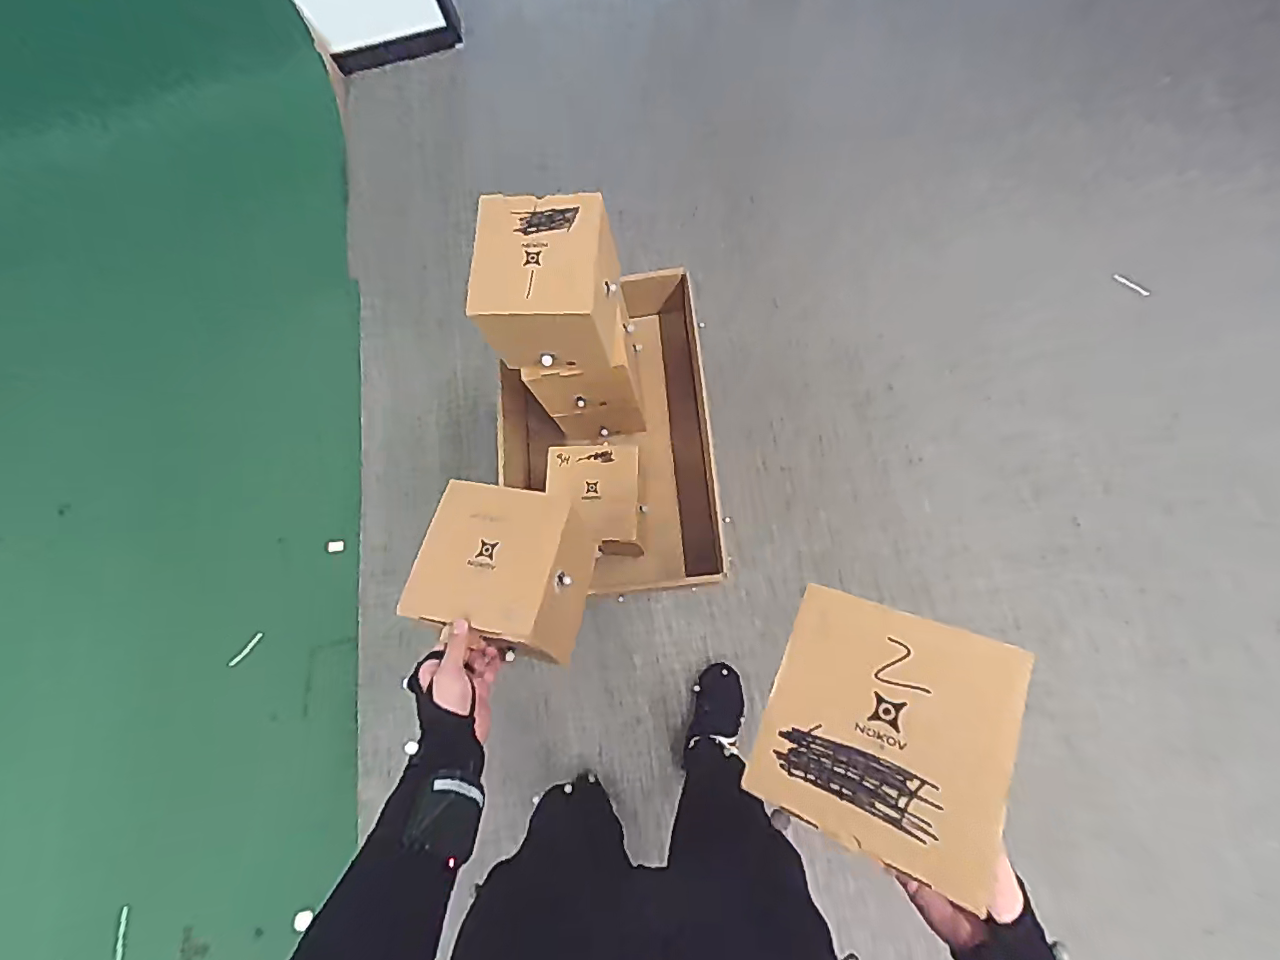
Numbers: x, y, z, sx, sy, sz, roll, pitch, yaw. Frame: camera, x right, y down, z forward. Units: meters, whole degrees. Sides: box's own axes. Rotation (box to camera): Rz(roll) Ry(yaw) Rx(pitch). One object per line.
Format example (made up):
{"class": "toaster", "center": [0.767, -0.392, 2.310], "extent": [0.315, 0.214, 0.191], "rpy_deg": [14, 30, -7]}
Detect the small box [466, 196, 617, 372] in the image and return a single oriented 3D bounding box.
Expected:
{"class": "small box", "center": [-0.128, -0.272, 0.773], "extent": [0.168, 0.176, 0.179], "rpy_deg": [2, 78, 7]}

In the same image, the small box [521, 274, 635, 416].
{"class": "small box", "center": [-0.104, -0.229, 0.930], "extent": [0.168, 0.176, 0.179], "rpy_deg": [-8, 76, 4]}

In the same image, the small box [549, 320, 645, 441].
{"class": "small box", "center": [-0.085, -0.193, 1.087], "extent": [0.168, 0.176, 0.179], "rpy_deg": [-7, 76, 5]}

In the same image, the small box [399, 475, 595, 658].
{"class": "small box", "center": [-0.167, 0.117, 0.699], "extent": [0.168, 0.176, 0.179], "rpy_deg": [8, 62, 13]}
